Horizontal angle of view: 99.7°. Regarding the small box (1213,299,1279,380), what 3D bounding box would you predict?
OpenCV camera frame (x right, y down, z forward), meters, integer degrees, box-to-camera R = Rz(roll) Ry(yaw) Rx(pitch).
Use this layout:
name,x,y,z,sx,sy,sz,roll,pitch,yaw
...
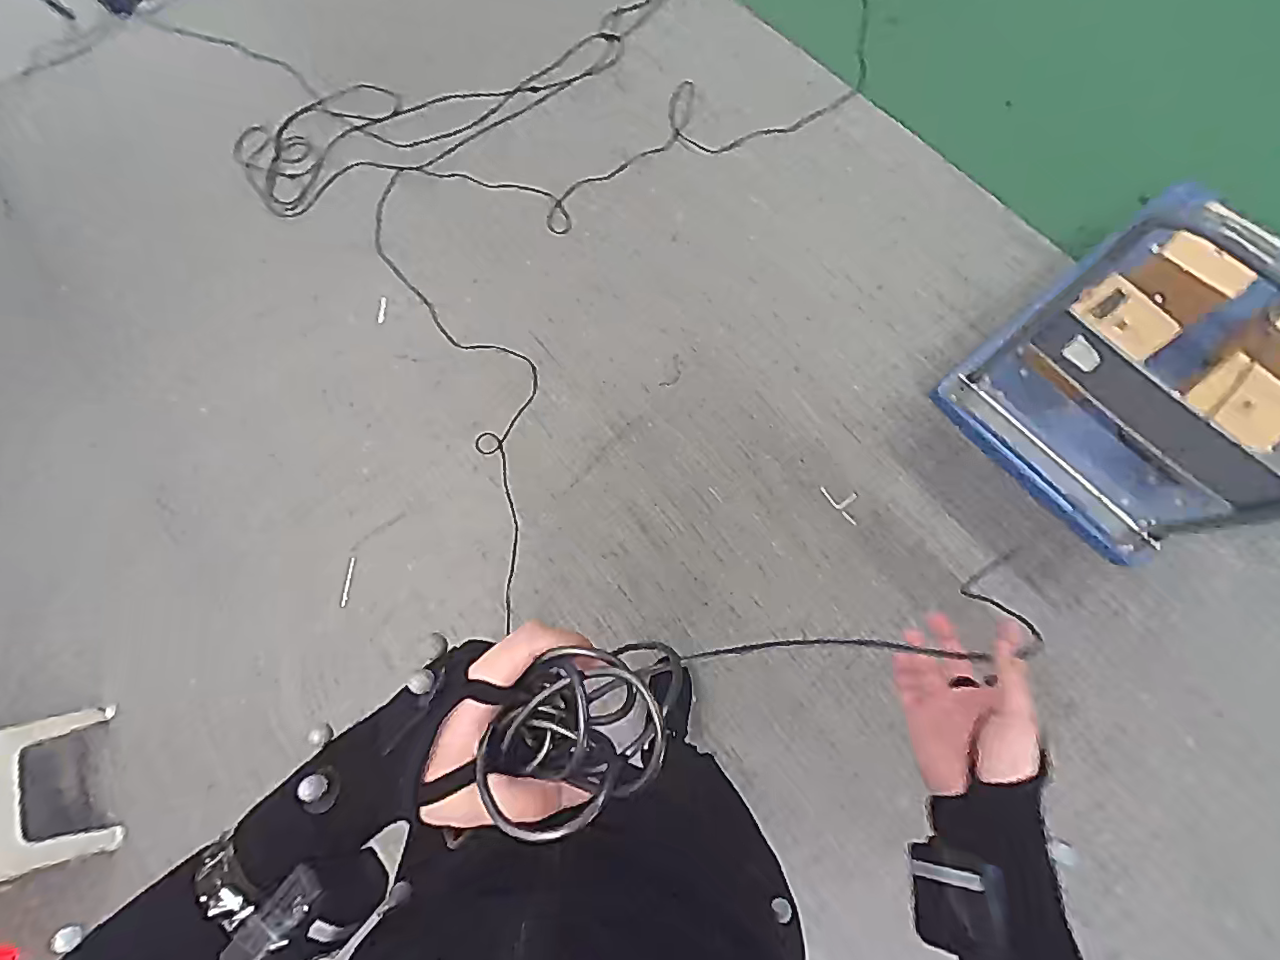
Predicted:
name,x,y,z,sx,sy,sz,roll,pitch,yaw
small box,1.414,-0.301,1.155,0.179,0.176,0.168,-43,74,-3

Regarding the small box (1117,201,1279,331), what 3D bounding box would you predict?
name,x,y,z,sx,sy,sz,roll,pitch,yaw
small box,1.245,-0.474,1.222,0.179,0.176,0.168,-43,75,-4

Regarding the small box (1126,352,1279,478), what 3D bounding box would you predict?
name,x,y,z,sx,sy,sz,roll,pitch,yaw
small box,1.205,-0.130,1.143,0.179,0.176,0.168,-39,74,-2
